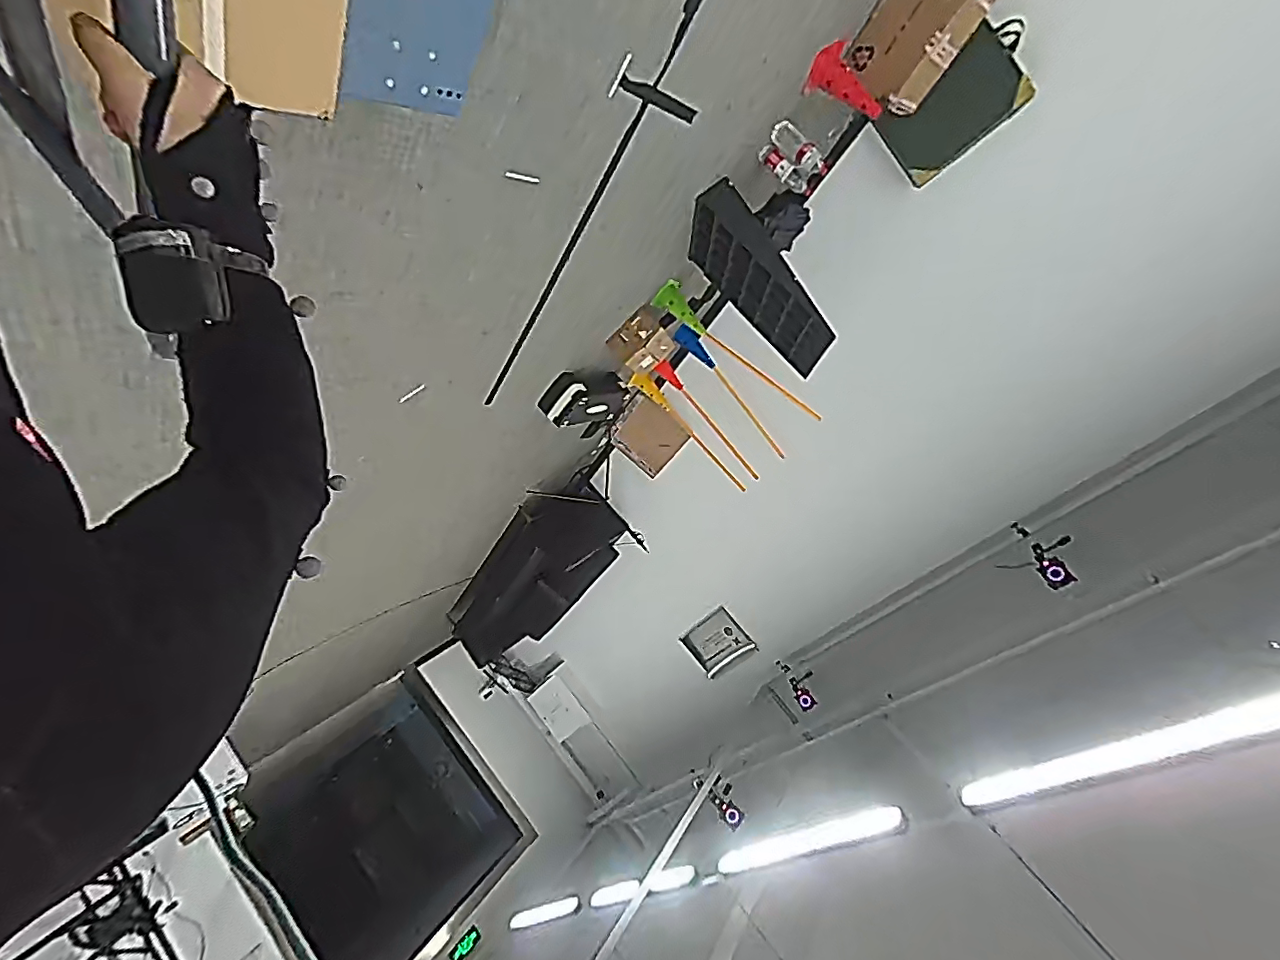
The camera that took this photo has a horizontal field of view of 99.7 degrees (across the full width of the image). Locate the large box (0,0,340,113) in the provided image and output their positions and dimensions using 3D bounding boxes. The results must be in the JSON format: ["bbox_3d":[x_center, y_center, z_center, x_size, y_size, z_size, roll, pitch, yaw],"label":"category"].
[{"bbox_3d":[-0.554,-0.717,0.587,0.320,0.320,0.408,-30,166,-48],"label":"large box"}]
